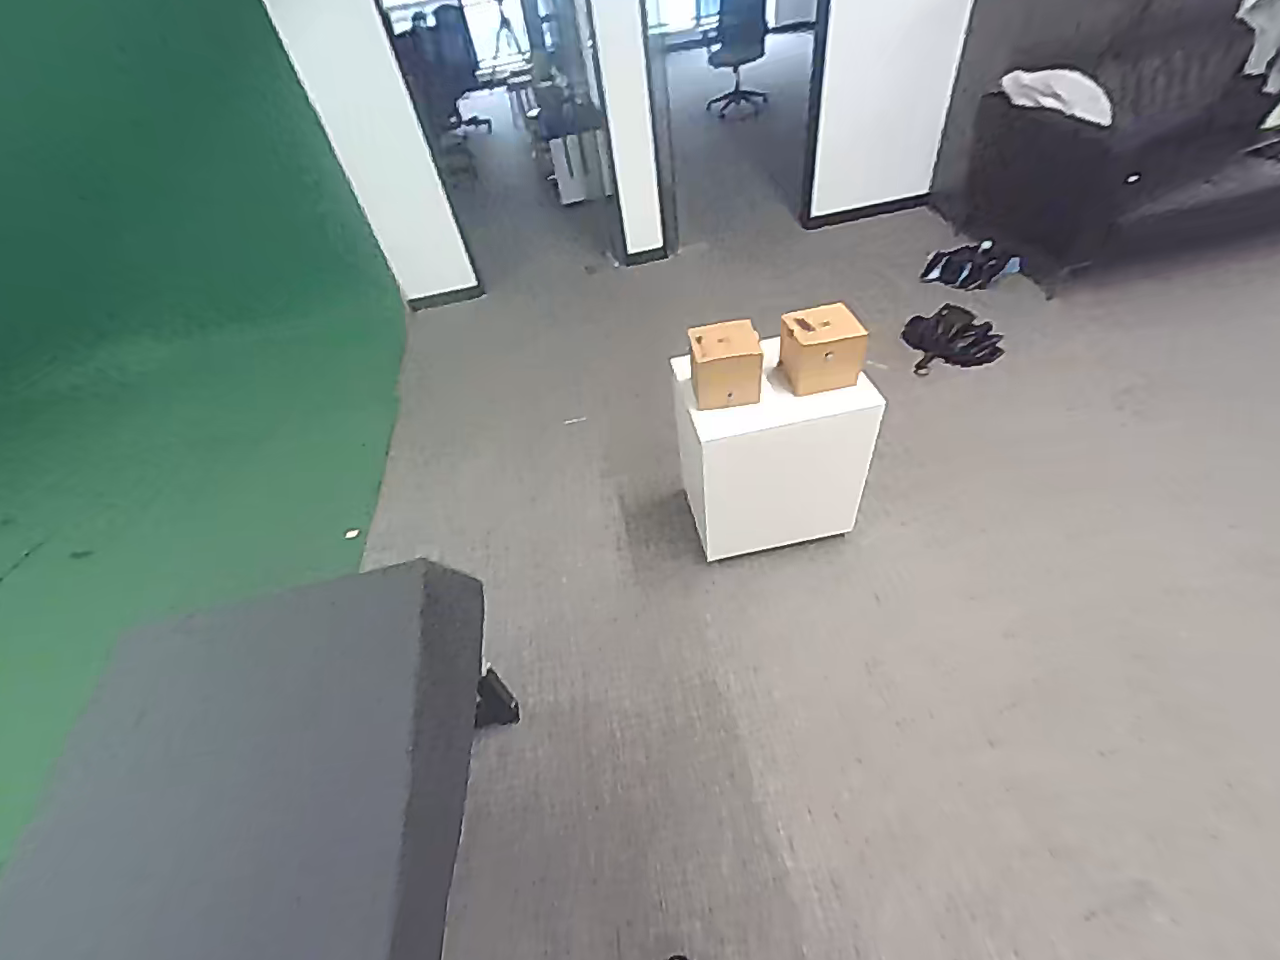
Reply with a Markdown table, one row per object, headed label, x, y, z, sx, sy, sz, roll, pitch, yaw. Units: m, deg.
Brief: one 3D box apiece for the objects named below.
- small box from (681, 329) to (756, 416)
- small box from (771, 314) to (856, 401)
| label | x | y | z | sx | sy | sz | roll | pitch | yaw |
| --- | --- | --- | --- | --- | --- | --- | --- | --- | --- |
| small box | 0.211 | -0.297 | 1.498 | 0.179 | 0.176 | 0.168 | -7 | 45 | -2 |
| small box | 0.473 | -0.337 | 1.507 | 0.179 | 0.176 | 0.168 | -10 | 46 | -4 |
